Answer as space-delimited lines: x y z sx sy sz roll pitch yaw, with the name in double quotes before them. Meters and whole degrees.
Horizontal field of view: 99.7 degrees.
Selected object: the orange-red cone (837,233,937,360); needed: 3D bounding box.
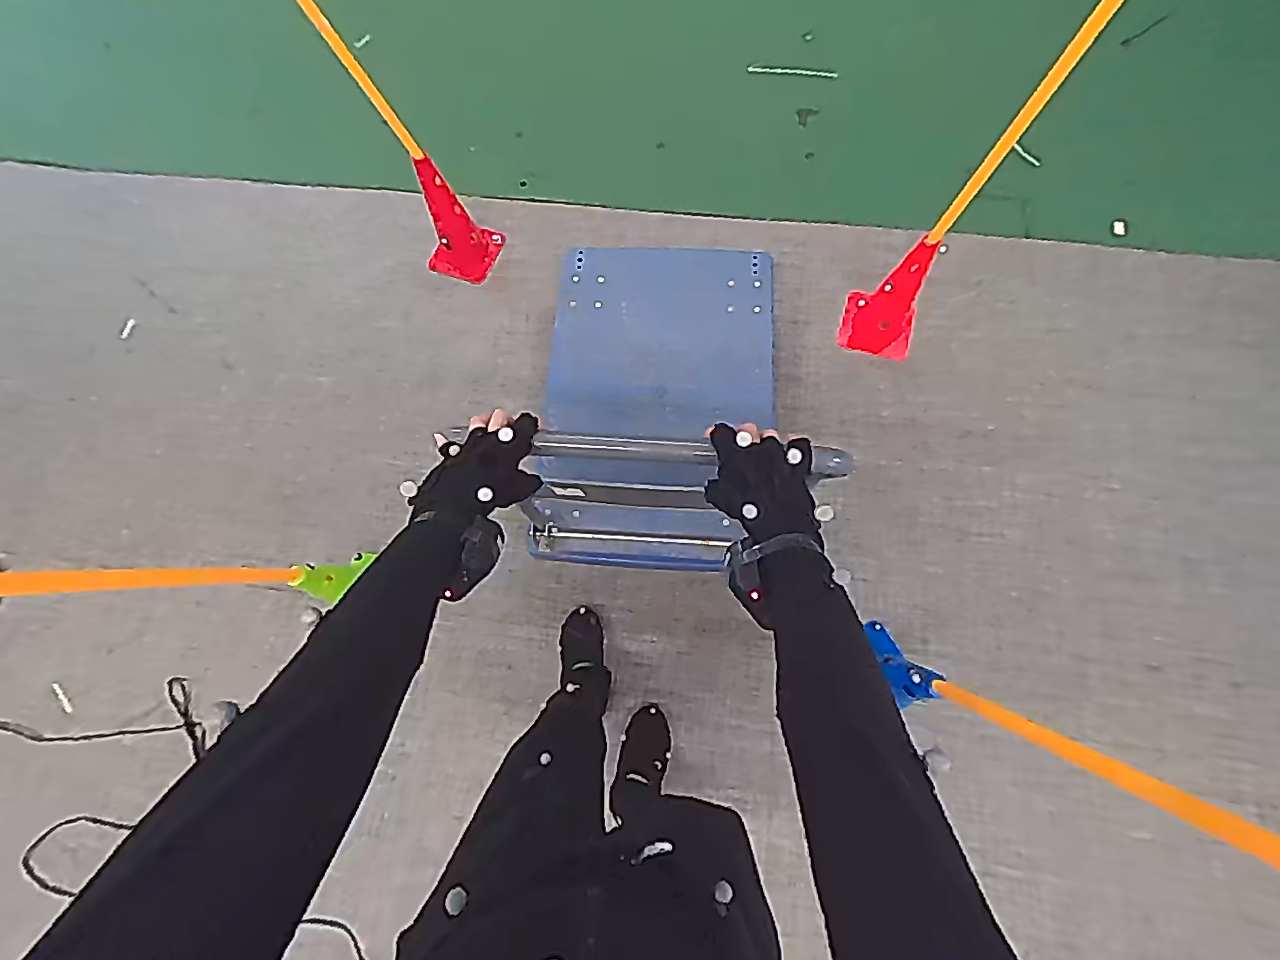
"orange-red cone" 0.688 -0.508 1.431 0.198 0.360 0.199 17 75 9
